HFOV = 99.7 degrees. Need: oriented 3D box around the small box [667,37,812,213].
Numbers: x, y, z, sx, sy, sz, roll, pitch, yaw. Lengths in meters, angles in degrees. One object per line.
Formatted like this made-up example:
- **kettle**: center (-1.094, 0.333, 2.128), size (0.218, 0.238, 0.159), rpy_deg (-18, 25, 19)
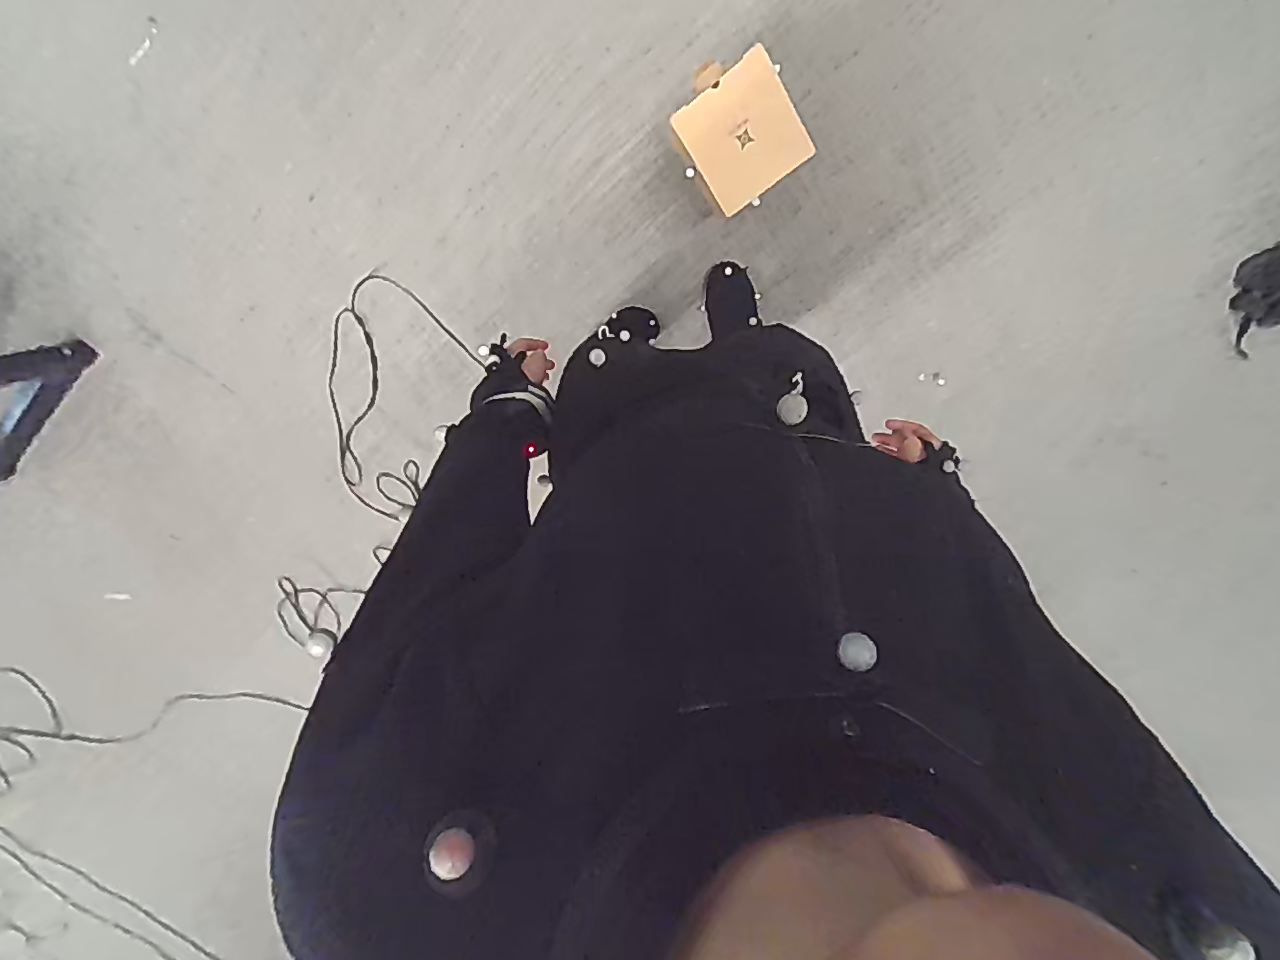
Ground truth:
- **small box**: center (0.161, -0.579, 0.908), size (0.168, 0.176, 0.179), rpy_deg (-32, 109, 17)
